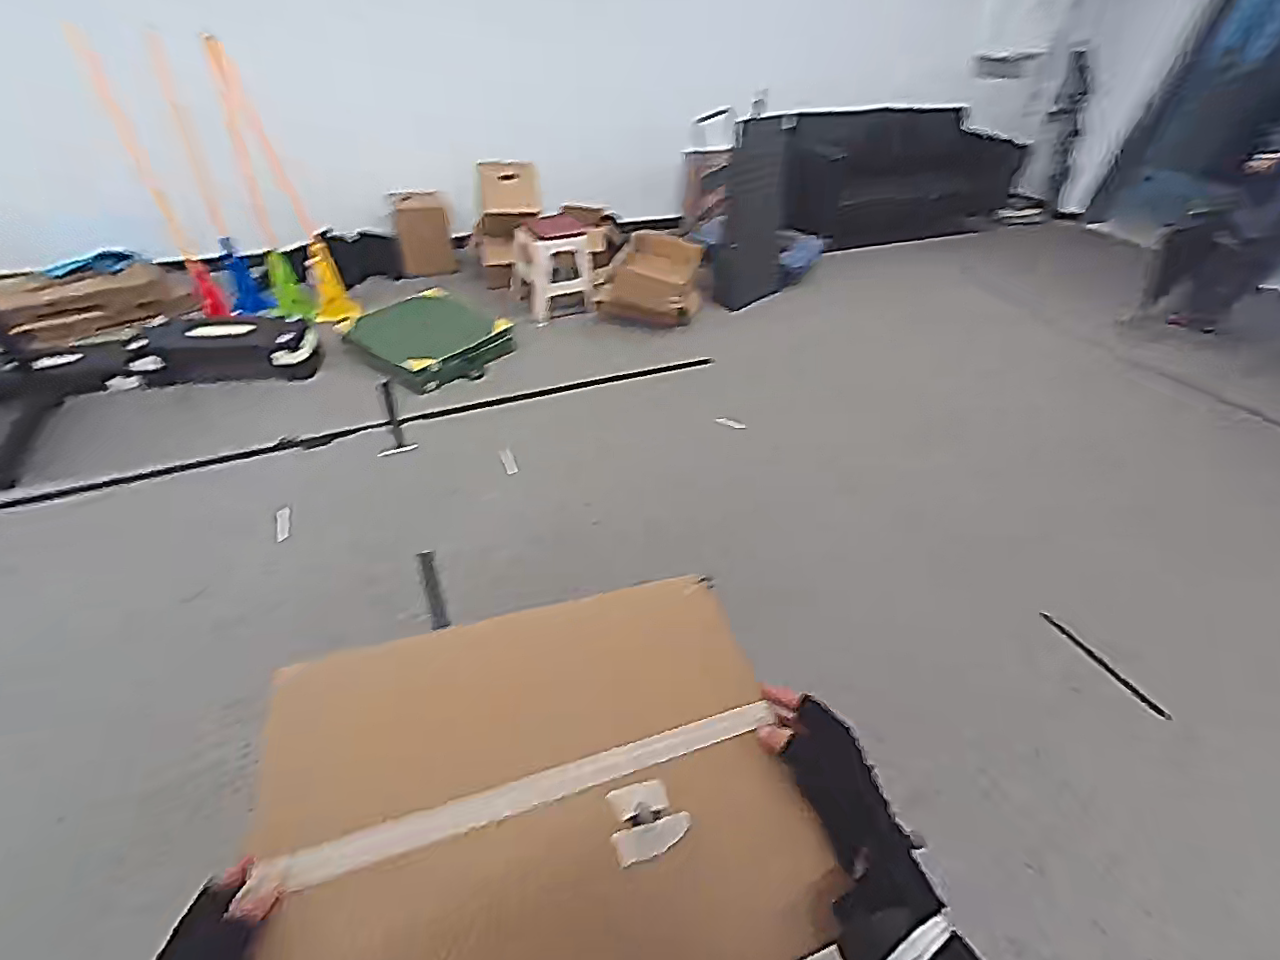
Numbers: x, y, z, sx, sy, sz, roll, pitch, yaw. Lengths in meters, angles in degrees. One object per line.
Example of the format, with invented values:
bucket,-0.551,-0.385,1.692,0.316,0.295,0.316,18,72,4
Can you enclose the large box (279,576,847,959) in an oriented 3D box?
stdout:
large box,-0.090,0.348,0.555,0.408,0.320,0.320,-9,50,-18
